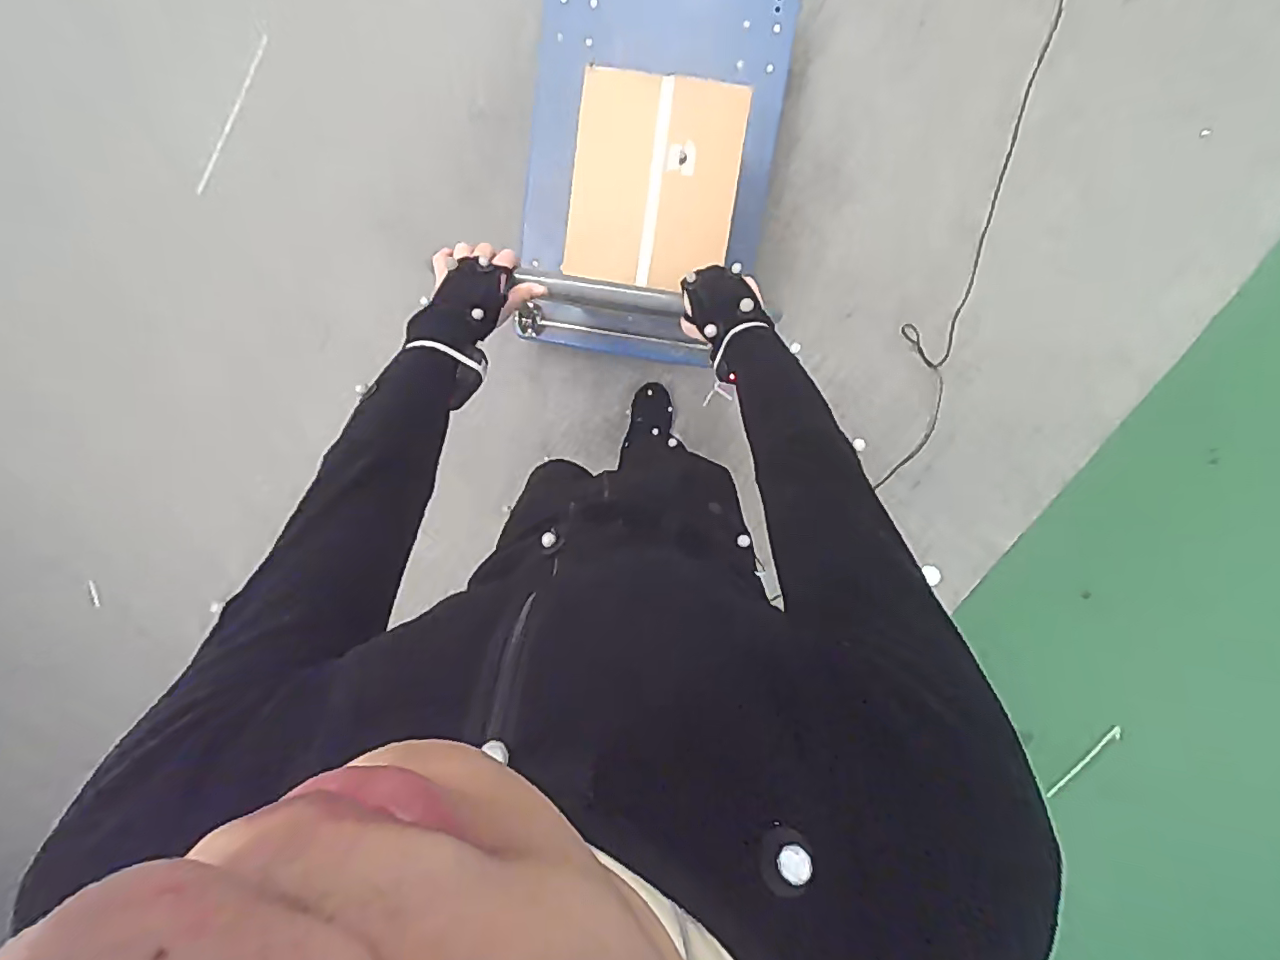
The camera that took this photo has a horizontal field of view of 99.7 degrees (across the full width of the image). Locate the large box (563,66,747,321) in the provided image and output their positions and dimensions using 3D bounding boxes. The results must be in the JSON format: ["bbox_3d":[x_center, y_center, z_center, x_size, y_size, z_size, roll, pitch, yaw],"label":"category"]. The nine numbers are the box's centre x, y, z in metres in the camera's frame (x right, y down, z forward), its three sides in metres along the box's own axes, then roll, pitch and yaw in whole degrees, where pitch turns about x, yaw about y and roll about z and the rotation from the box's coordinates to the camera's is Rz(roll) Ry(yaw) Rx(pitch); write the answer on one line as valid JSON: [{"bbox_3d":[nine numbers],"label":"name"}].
[{"bbox_3d":[0.031,-0.587,1.189,0.320,0.320,0.408,9,101,0],"label":"large box"}]
